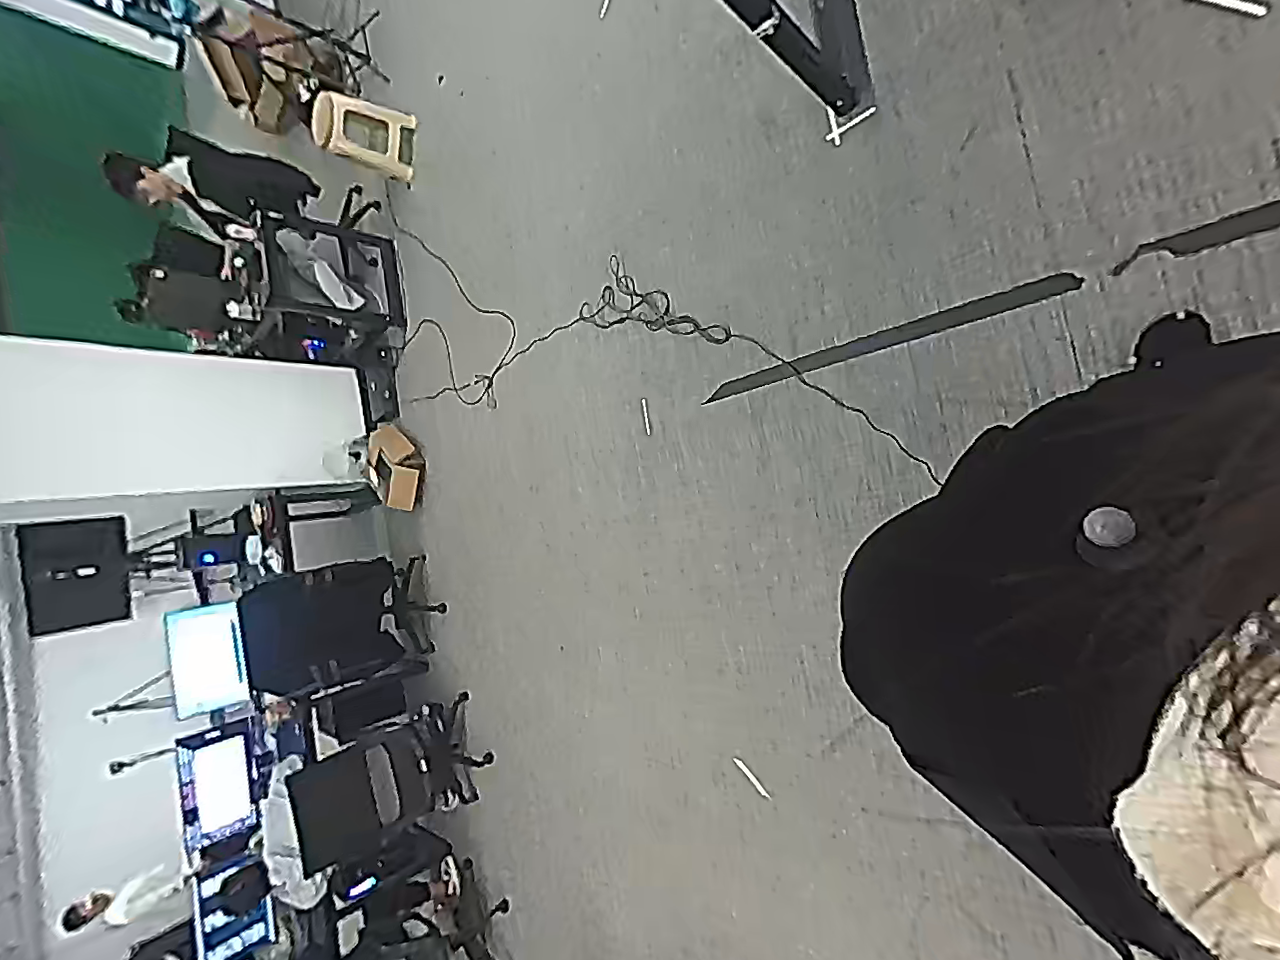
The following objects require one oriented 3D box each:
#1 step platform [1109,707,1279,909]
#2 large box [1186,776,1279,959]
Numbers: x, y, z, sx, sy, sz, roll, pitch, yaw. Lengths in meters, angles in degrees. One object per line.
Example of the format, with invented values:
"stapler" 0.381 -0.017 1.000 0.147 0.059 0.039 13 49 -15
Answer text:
"step platform" 1.201 0.607 0.862 0.684 0.204 0.286 -4 91 43
"large box" 1.026 0.640 0.701 0.408 0.320 0.320 -11 86 43
